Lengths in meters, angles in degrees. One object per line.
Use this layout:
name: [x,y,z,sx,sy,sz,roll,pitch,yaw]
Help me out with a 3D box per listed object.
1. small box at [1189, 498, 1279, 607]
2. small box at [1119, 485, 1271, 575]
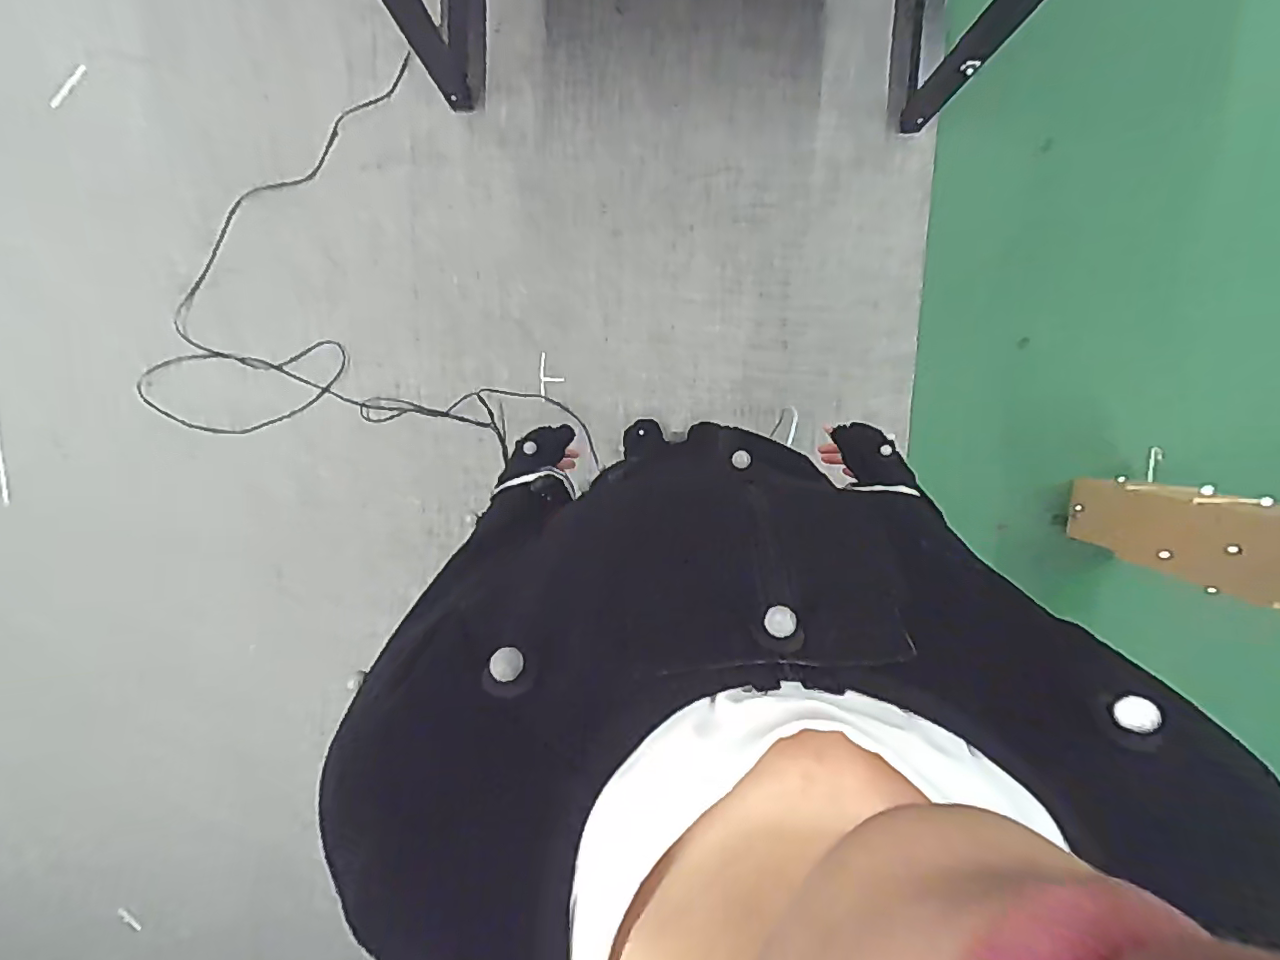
small box: [1.249,0.138,1.064,0.168,0.176,0.179,1,98,1]
small box: [1.243,0.109,1.226,0.168,0.176,0.179,2,99,1]
